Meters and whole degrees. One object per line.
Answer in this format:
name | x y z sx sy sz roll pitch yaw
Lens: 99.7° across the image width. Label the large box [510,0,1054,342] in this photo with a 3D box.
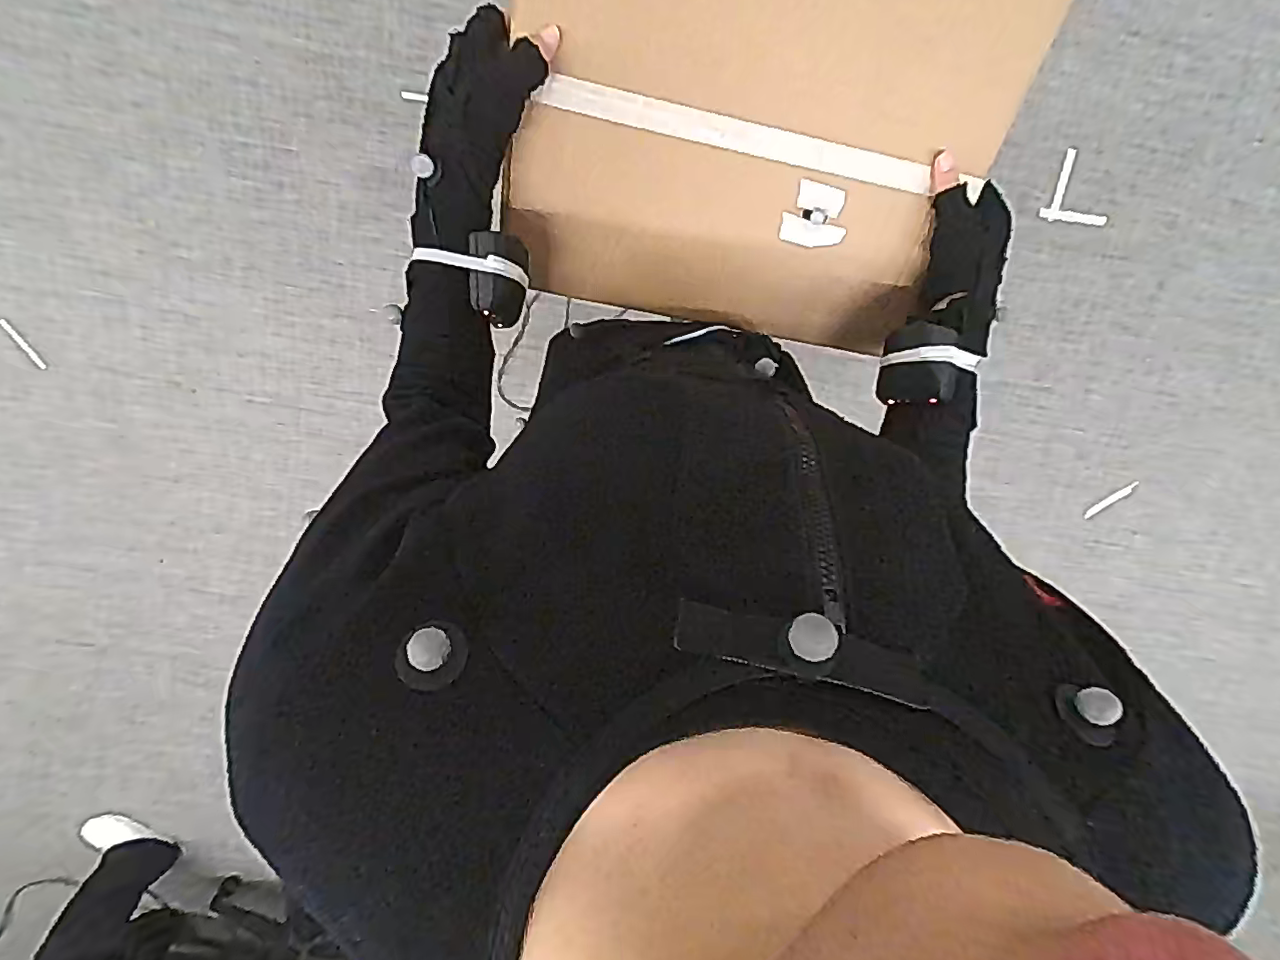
large box | 0.091 -0.376 0.576 0.408 0.320 0.320 9 124 -9
